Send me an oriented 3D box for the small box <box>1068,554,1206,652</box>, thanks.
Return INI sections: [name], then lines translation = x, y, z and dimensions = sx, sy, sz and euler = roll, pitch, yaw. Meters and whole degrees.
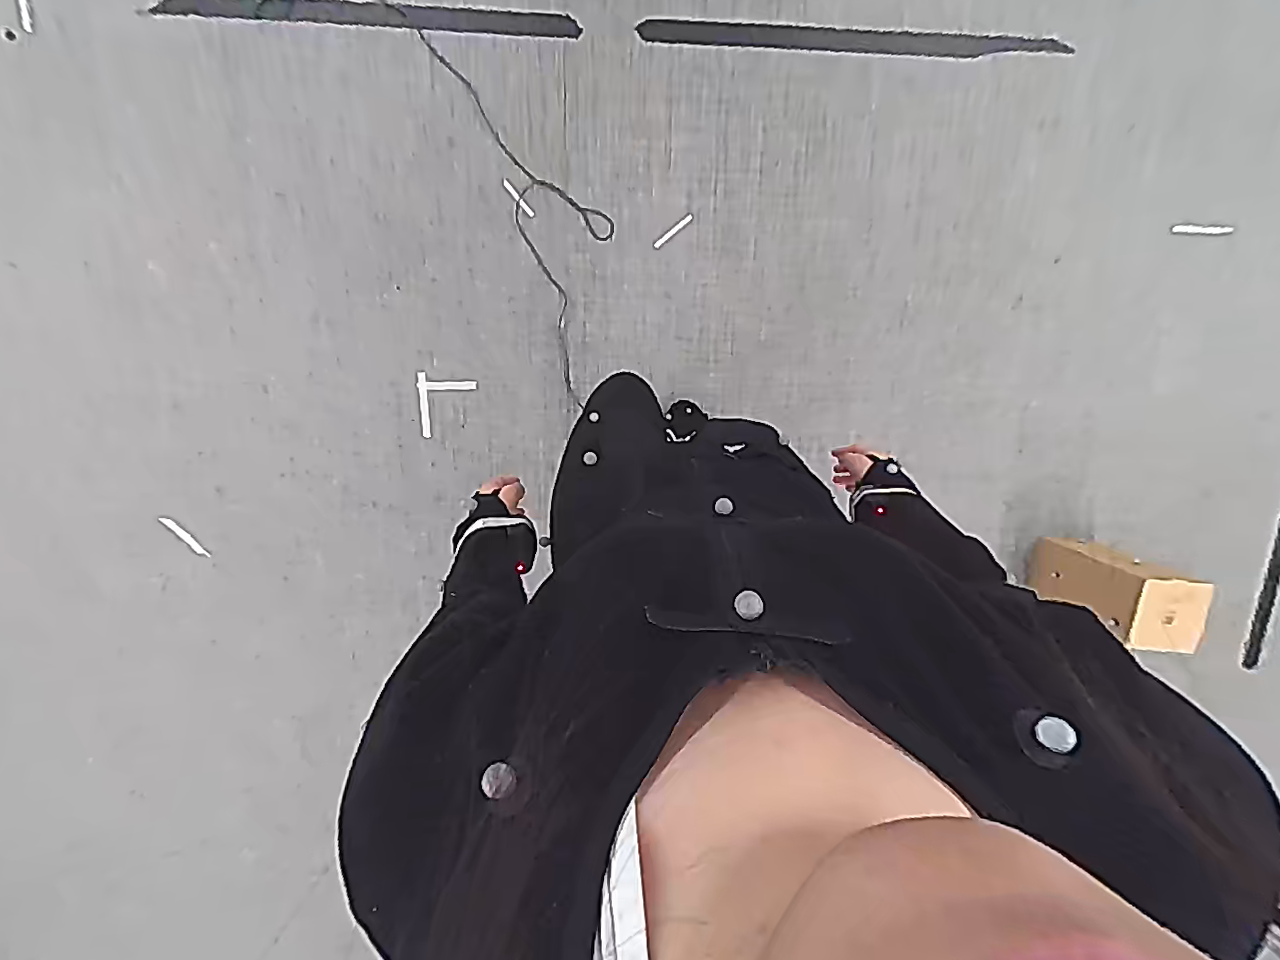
[small box]
translation = 1.203, 0.297, 1.325
dimensions = 0.168, 0.176, 0.179
euler = 5, 100, -2
